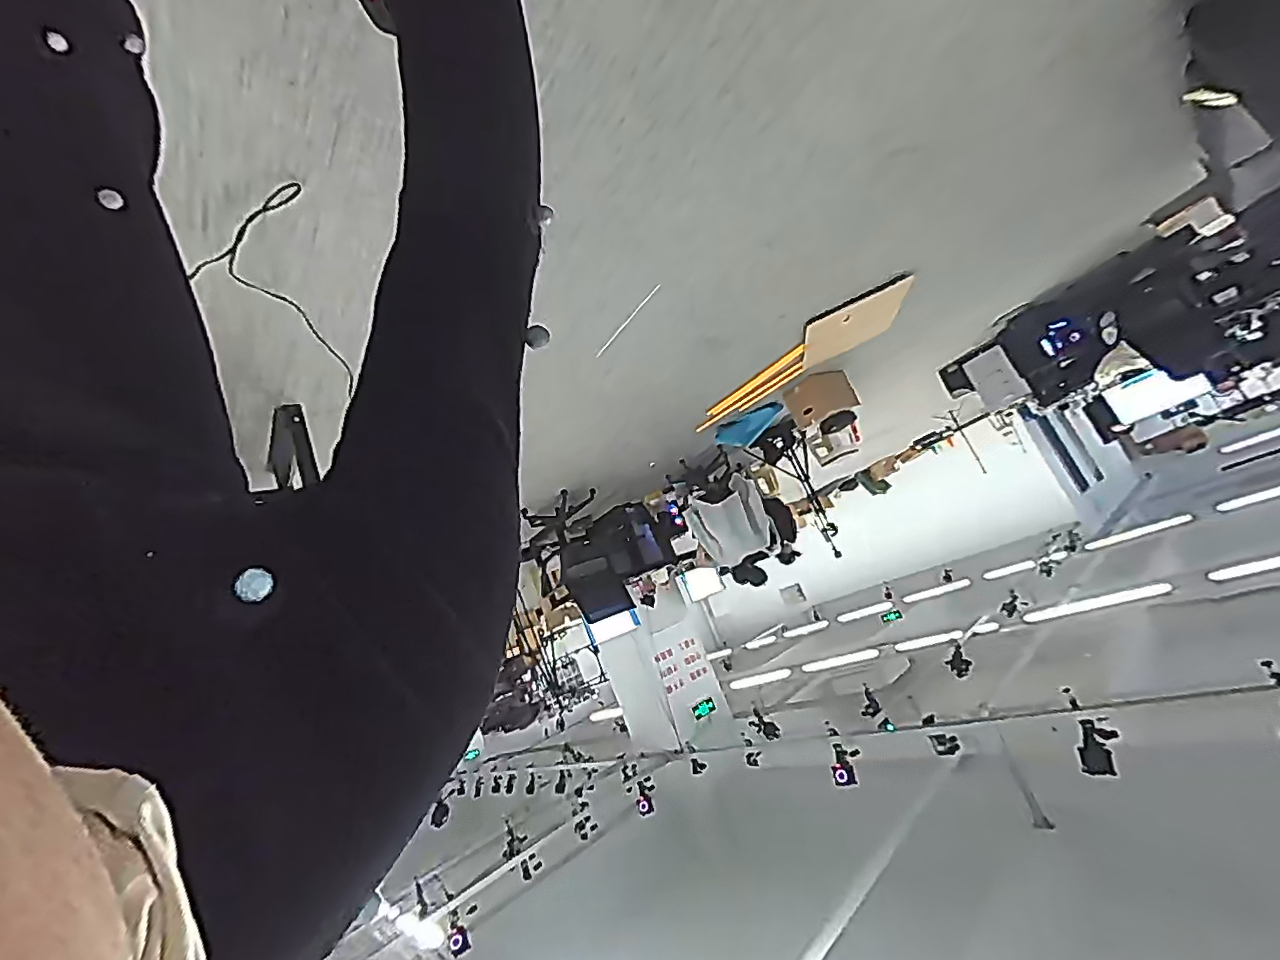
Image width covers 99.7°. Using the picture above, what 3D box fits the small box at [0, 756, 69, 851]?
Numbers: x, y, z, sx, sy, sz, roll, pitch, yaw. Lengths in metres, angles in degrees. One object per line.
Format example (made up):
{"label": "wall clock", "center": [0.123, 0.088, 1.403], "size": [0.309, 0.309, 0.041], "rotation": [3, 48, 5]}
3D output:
{"label": "small box", "center": [-1.532, 0.795, 1.317], "size": [0.168, 0.176, 0.179], "rotation": [-10, 161, -41]}
